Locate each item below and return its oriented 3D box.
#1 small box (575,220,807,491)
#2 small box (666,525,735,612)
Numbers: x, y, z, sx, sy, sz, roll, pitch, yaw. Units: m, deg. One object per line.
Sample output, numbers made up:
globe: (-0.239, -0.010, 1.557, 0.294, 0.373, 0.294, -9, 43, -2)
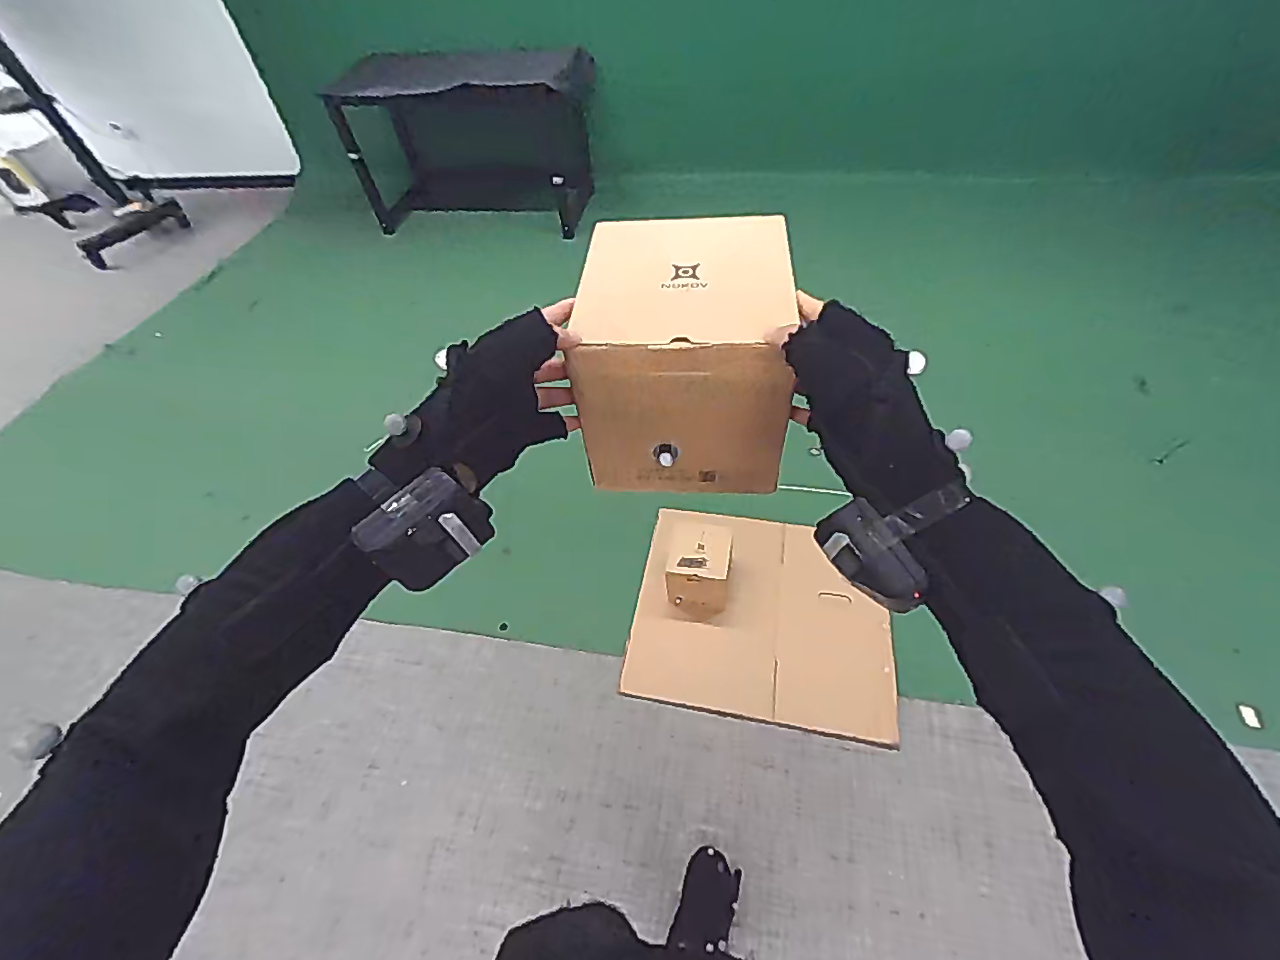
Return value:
small box: (0.046, -0.112, 0.489, 0.168, 0.176, 0.179, 2, 53, 6)
small box: (0.176, 0.255, 1.537, 0.168, 0.176, 0.179, 7, 50, 13)
